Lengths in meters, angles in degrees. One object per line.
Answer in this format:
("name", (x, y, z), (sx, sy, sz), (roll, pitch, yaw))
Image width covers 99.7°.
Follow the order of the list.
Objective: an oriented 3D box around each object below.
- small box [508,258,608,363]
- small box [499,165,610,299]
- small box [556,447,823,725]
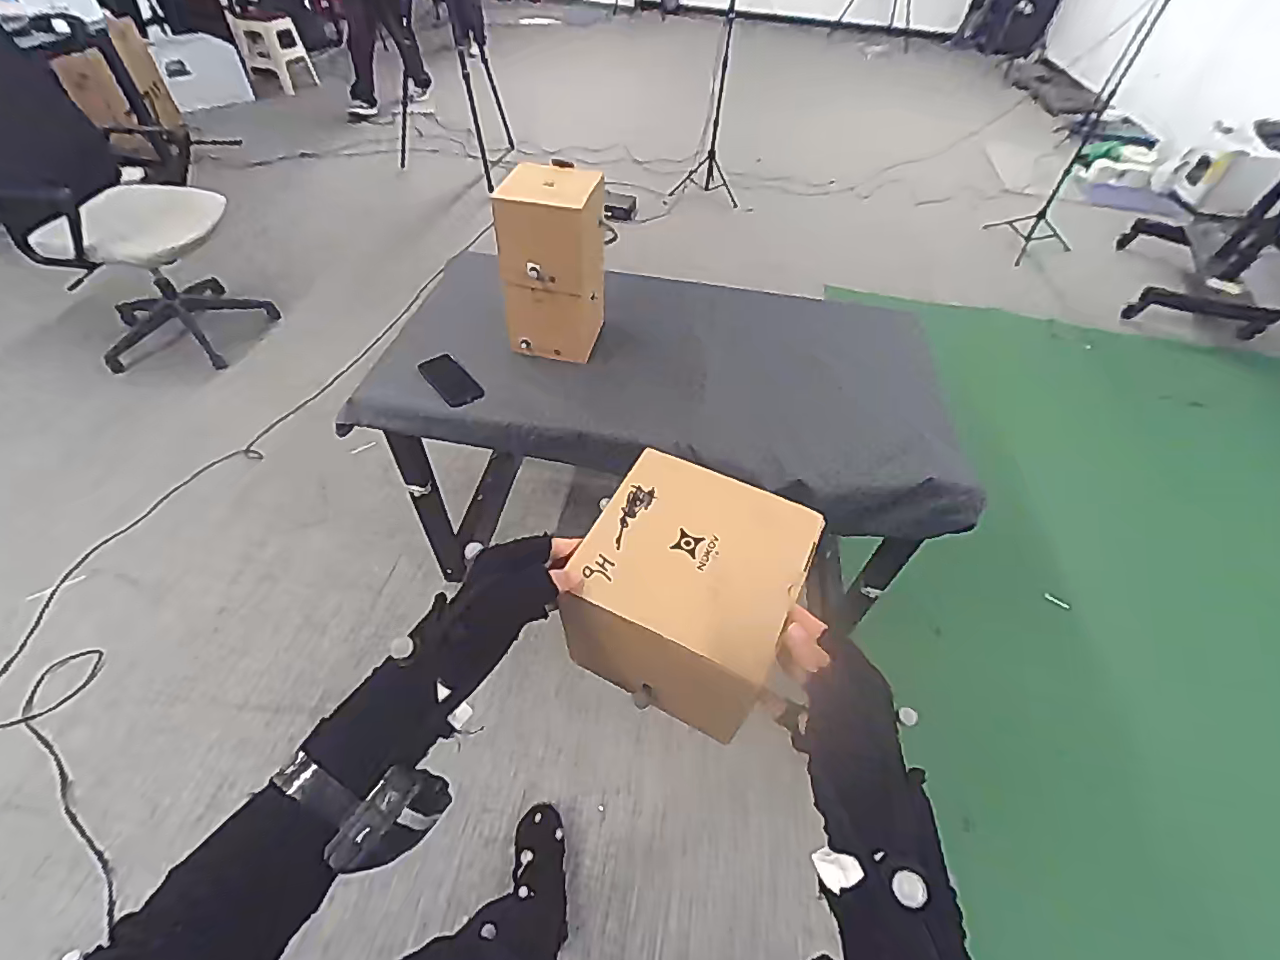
("small box", (-0.168, -0.375, 1.169), (0.168, 0.176, 0.179), (11, 48, 4))
("small box", (-0.157, -0.478, 1.044), (0.168, 0.176, 0.179), (10, 50, 5))
("small box", (0.043, 0.105, 0.508), (0.179, 0.176, 0.168), (23, 53, 15))
